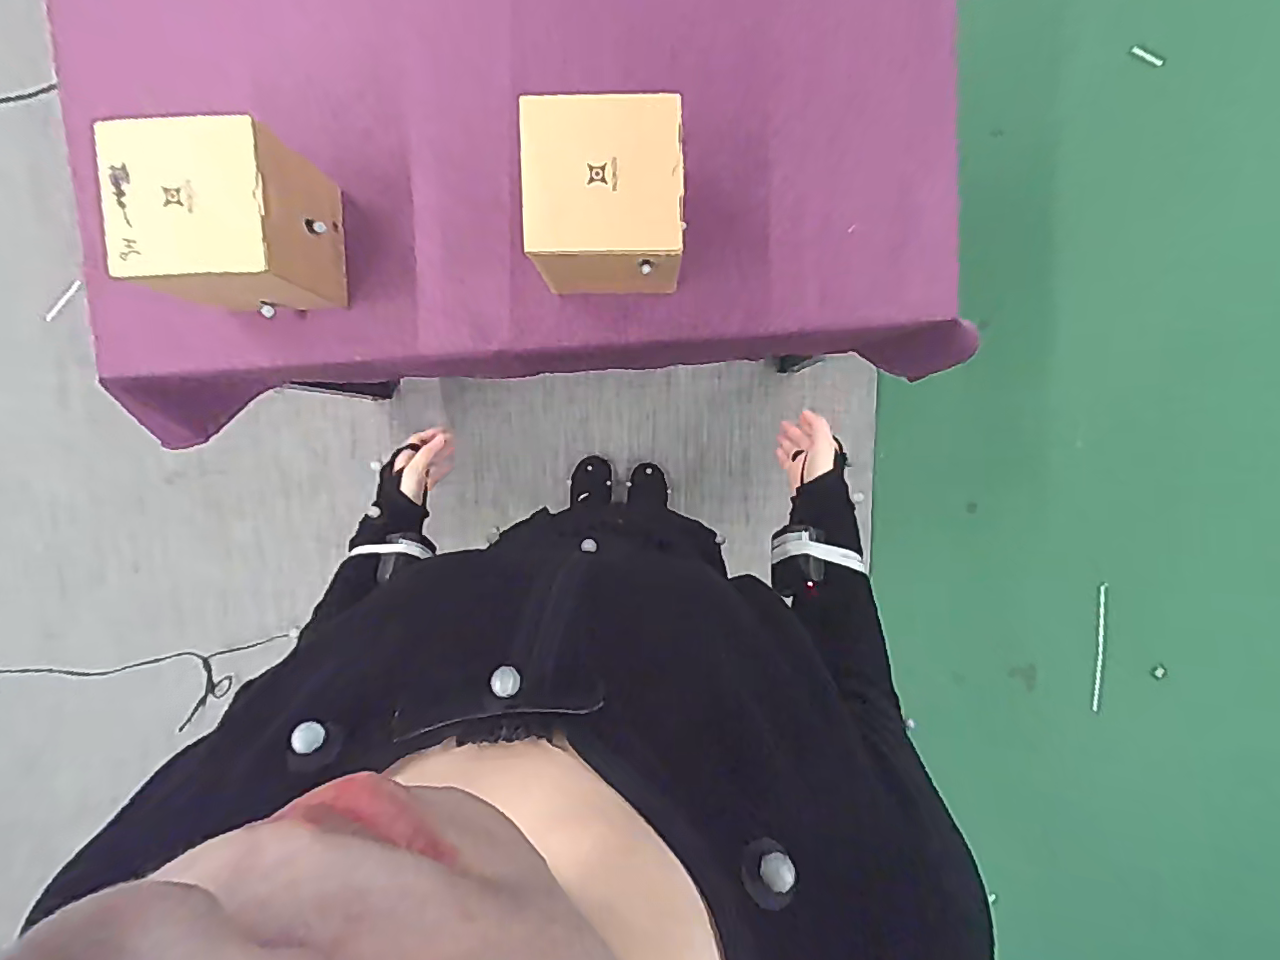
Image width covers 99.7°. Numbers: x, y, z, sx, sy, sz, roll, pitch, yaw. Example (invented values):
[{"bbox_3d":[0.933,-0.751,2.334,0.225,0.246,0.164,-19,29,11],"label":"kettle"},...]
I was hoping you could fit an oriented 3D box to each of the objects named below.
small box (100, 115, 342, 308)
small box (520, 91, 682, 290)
[{"bbox_3d":[-0.493,-0.316,0.668,0.179,0.176,0.168,-1,94,0],"label":"small box"},{"bbox_3d":[-0.041,-0.338,0.663,0.179,0.176,0.168,0,94,0],"label":"small box"}]
